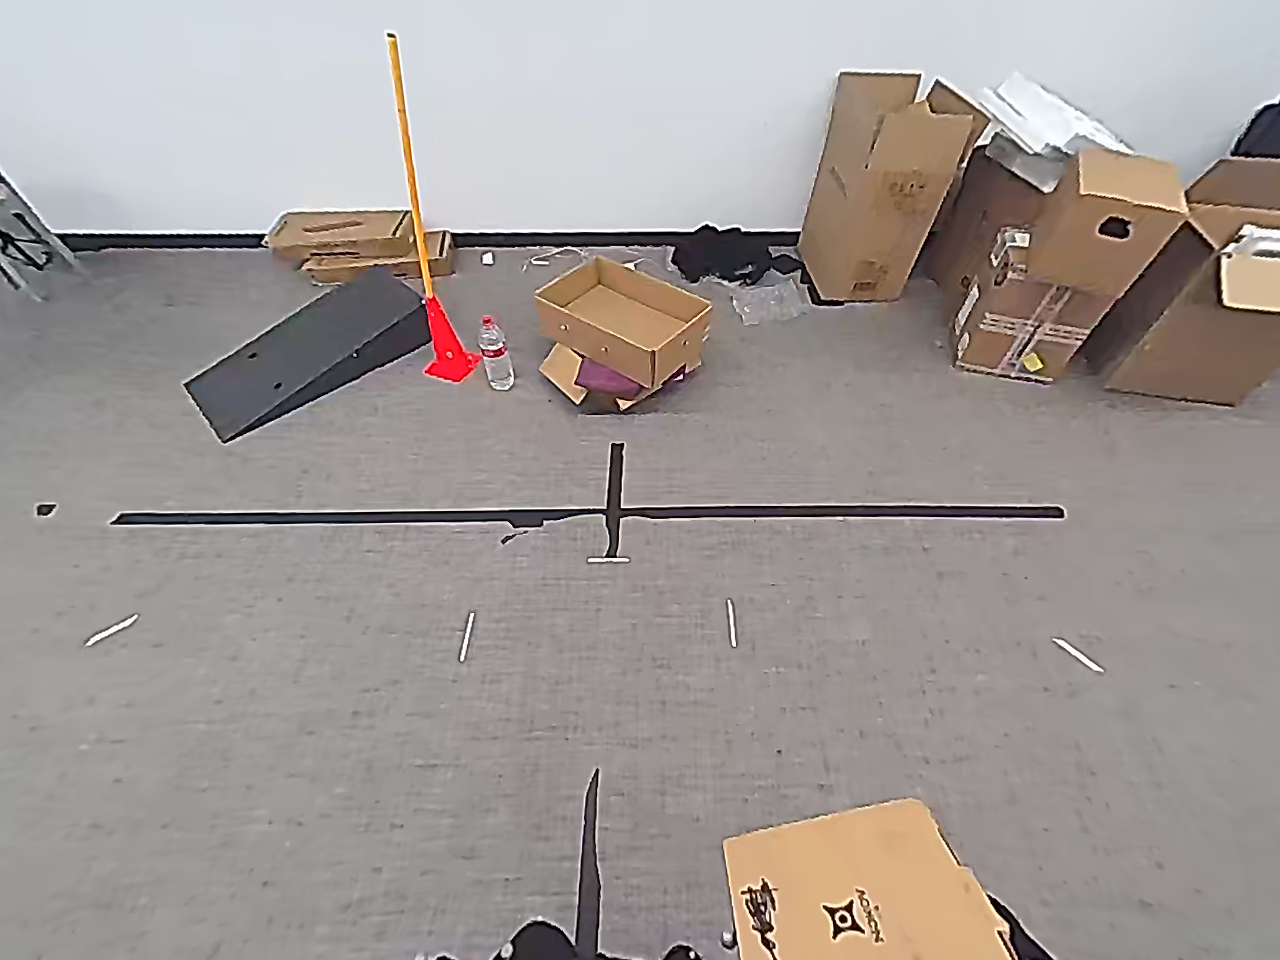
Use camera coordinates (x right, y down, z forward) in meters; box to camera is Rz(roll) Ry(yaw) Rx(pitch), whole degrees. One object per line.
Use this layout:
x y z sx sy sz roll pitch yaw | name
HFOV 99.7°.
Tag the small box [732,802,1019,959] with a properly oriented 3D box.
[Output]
0.183 0.395 0.416 0.179 0.176 0.168 -15 14 5 | small box
